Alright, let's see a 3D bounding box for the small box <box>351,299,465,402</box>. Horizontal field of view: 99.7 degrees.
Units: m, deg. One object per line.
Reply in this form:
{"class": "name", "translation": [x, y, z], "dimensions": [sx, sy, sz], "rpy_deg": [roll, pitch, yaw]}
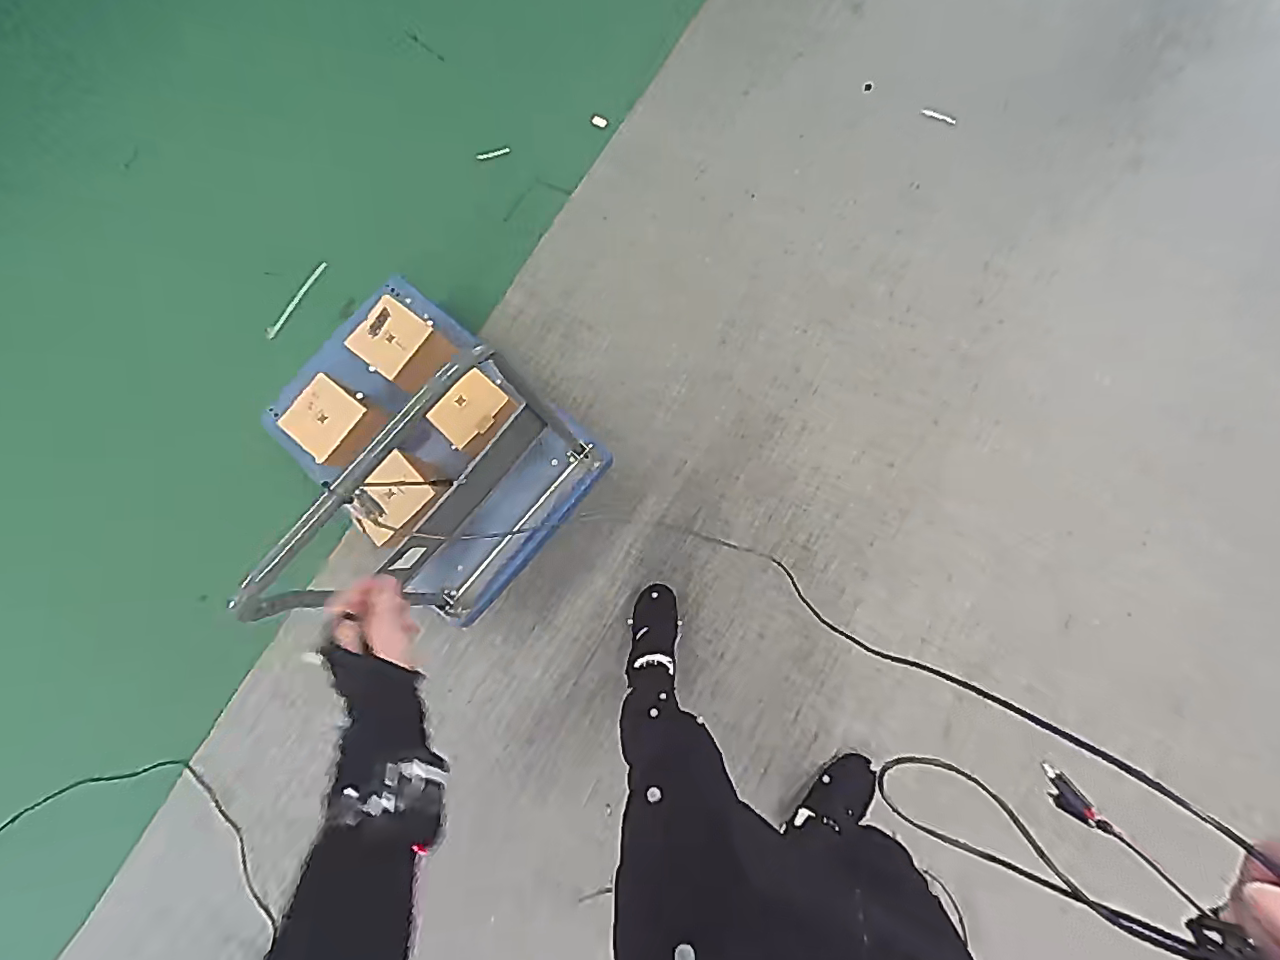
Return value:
{"class": "small box", "translation": [-0.595, -0.328, 1.407], "dimensions": [0.179, 0.176, 0.168], "rpy_deg": [37, 86, 14]}

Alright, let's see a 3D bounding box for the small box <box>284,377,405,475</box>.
{"class": "small box", "translation": [-0.748, -0.129, 1.388], "dimensions": [0.179, 0.176, 0.168], "rpy_deg": [37, 85, 14]}

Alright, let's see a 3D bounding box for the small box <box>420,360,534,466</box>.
{"class": "small box", "translation": [-0.396, -0.158, 1.340], "dimensions": [0.179, 0.176, 0.168], "rpy_deg": [41, 87, 14]}
